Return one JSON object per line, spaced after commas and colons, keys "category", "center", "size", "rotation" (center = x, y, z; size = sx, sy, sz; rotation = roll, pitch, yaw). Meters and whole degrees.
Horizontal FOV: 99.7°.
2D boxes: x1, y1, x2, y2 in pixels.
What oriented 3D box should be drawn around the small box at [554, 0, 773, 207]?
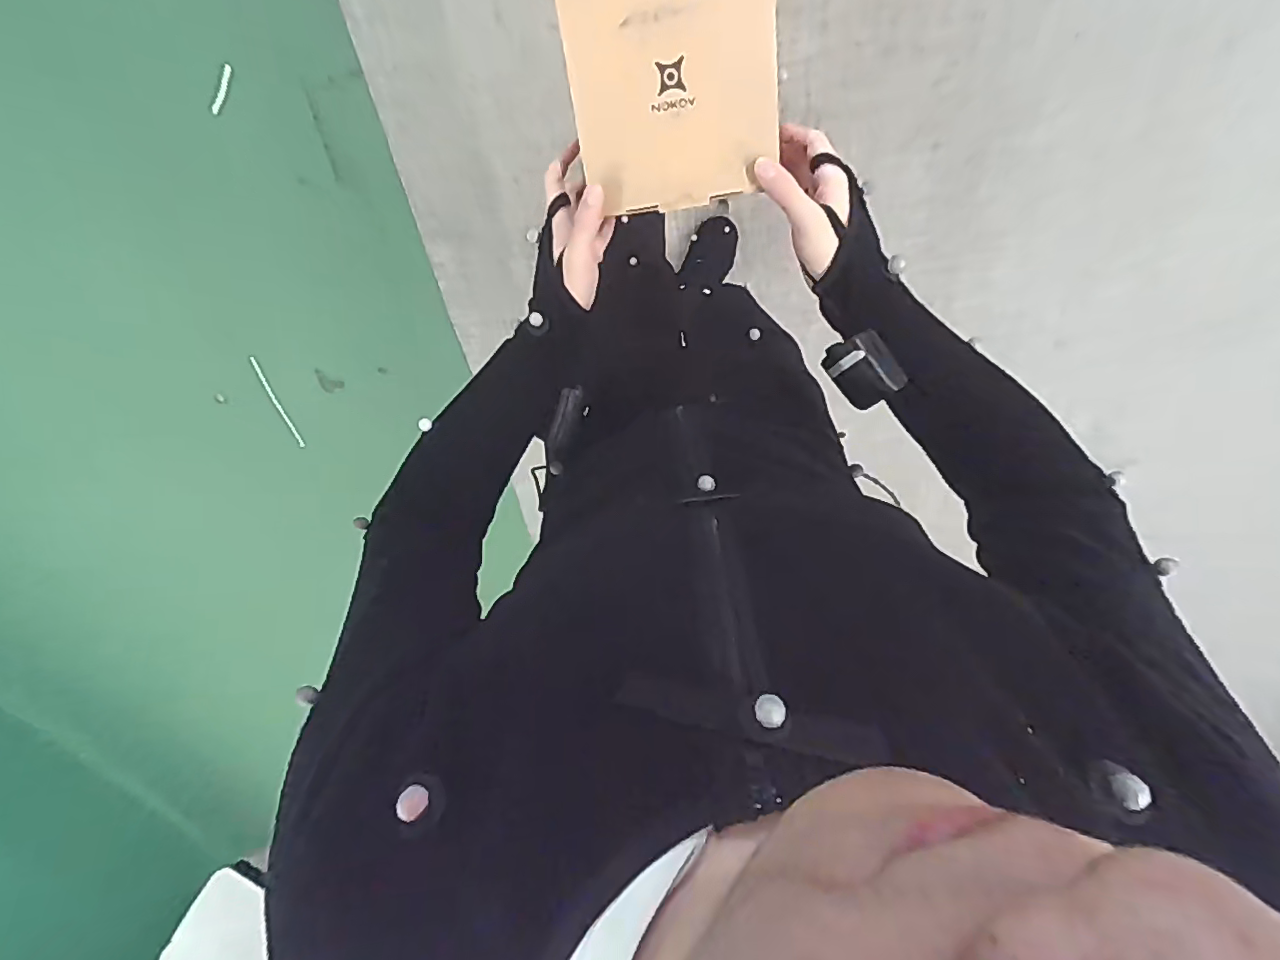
{"category": "small box", "center": [0.031, -0.358, 0.494], "size": [0.168, 0.176, 0.179], "rotation": [-4, 116, 9]}
